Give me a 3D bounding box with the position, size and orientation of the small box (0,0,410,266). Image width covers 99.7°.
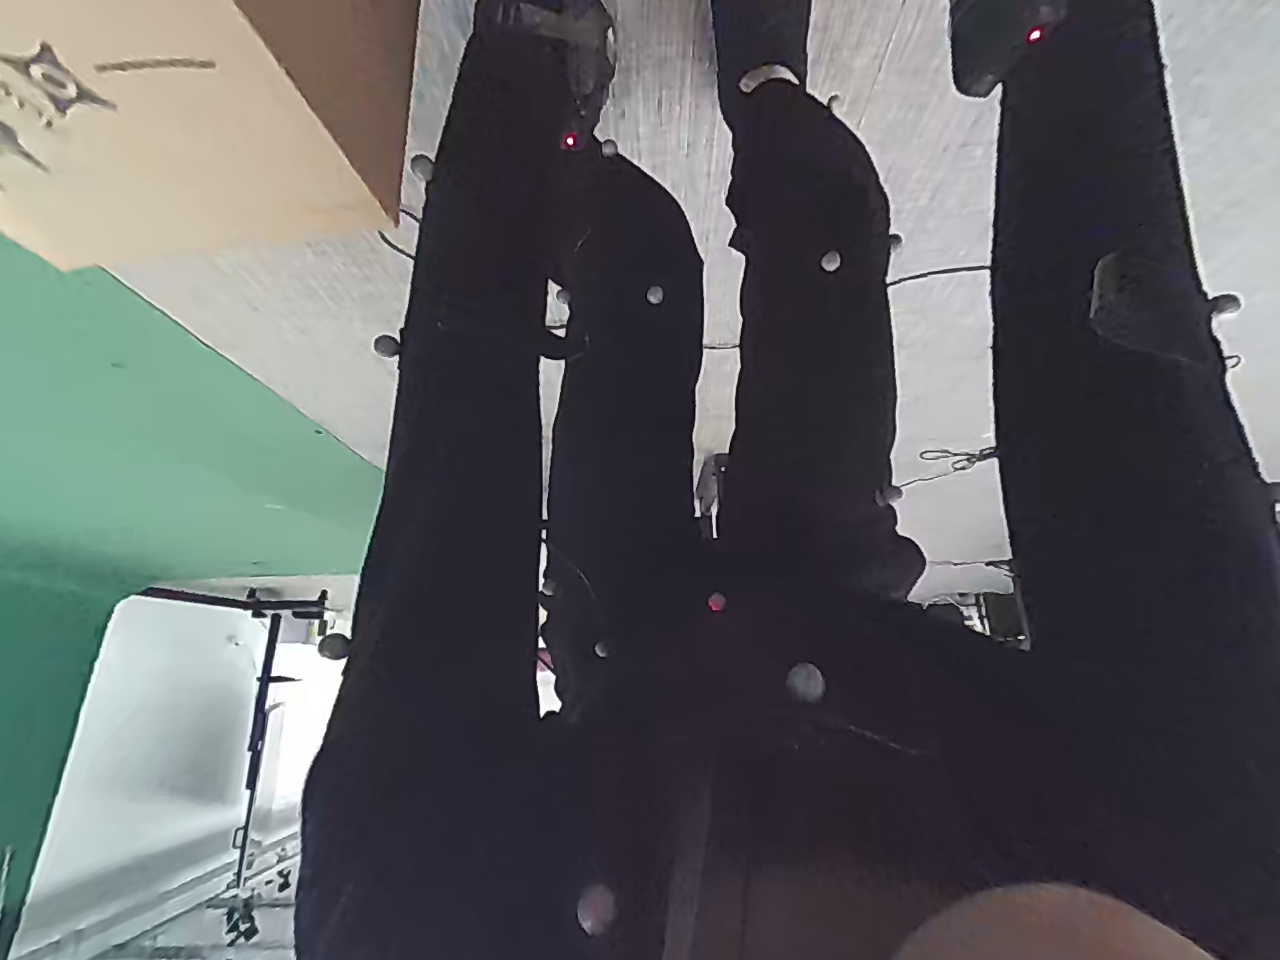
[{"bbox_3d":[-0.213,-0.218,0.220,0.179,0.176,0.168,-4,164,6],"label":"small box"}]
